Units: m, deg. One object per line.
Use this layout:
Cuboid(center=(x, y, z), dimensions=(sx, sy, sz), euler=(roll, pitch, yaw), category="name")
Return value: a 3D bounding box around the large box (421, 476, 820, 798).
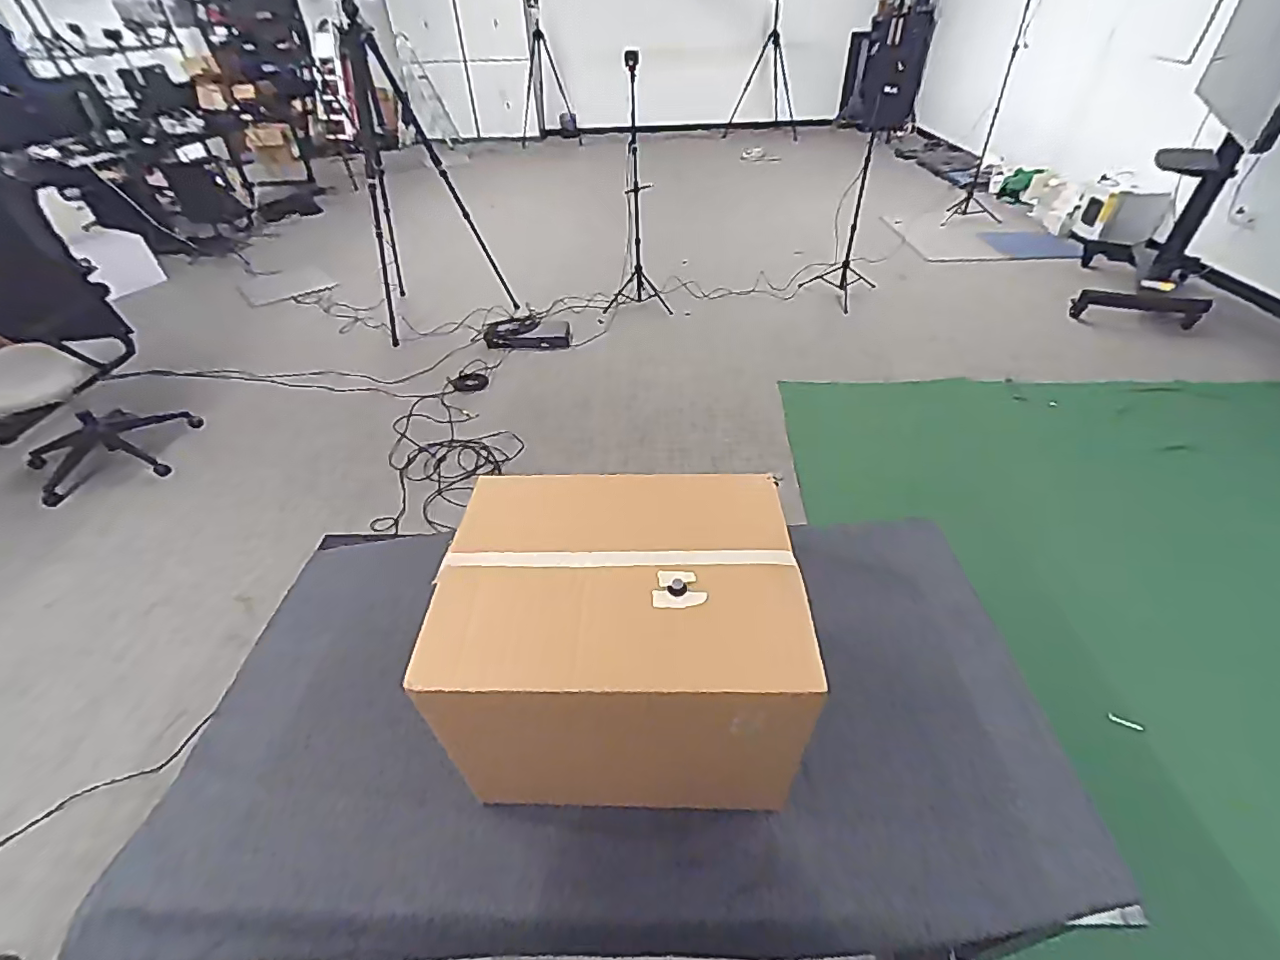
Cuboid(center=(-0.018, 0.210, 0.736), dimensions=(0.408, 0.320, 0.320), euler=(0, 42, 2), category="large box")
